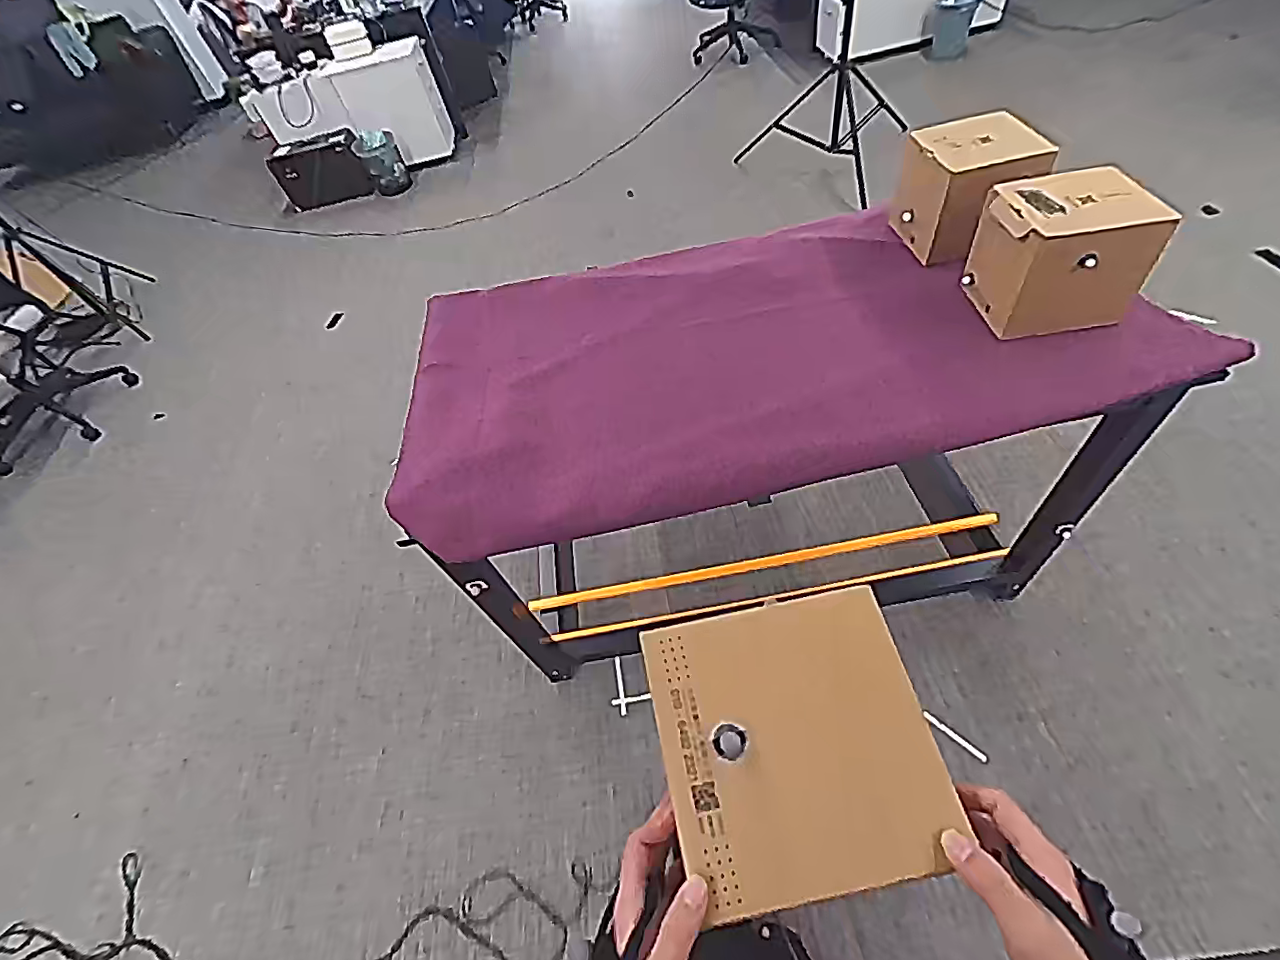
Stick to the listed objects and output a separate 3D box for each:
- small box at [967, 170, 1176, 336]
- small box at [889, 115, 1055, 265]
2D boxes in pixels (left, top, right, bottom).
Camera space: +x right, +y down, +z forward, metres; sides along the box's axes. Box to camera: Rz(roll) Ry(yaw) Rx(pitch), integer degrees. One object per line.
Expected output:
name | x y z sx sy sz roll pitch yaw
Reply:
small box | 0.630 -0.340 0.826 0.179 0.176 0.168 -7 51 6
small box | 0.580 -0.517 0.974 0.179 0.176 0.168 -12 52 3
